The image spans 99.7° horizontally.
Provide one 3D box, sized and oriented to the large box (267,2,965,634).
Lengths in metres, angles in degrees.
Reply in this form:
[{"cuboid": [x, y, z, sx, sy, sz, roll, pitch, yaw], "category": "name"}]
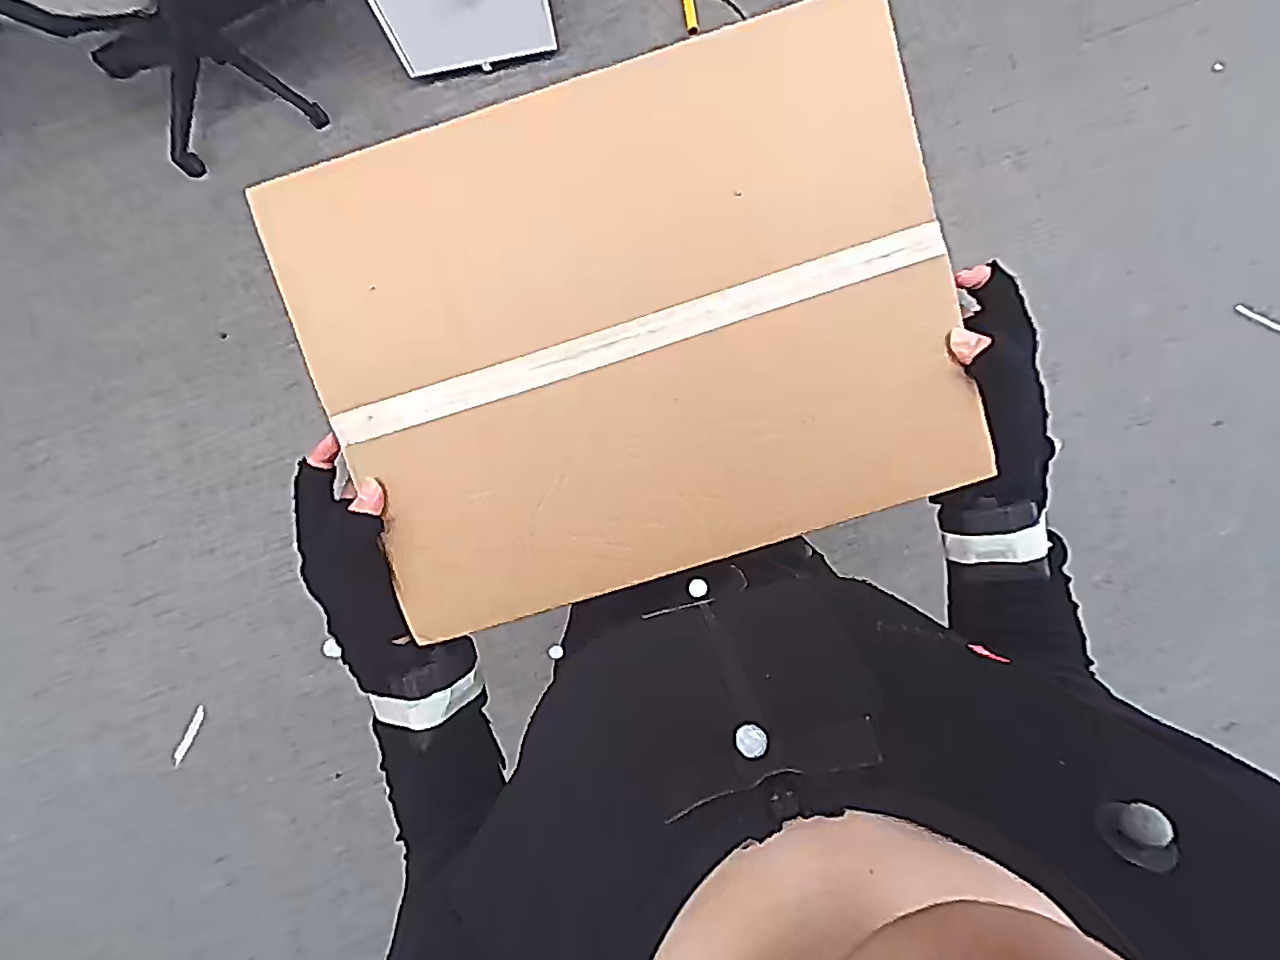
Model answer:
[{"cuboid": [-0.008, -0.113, 0.506, 0.408, 0.320, 0.320, -17, 96, 2], "category": "large box"}]
